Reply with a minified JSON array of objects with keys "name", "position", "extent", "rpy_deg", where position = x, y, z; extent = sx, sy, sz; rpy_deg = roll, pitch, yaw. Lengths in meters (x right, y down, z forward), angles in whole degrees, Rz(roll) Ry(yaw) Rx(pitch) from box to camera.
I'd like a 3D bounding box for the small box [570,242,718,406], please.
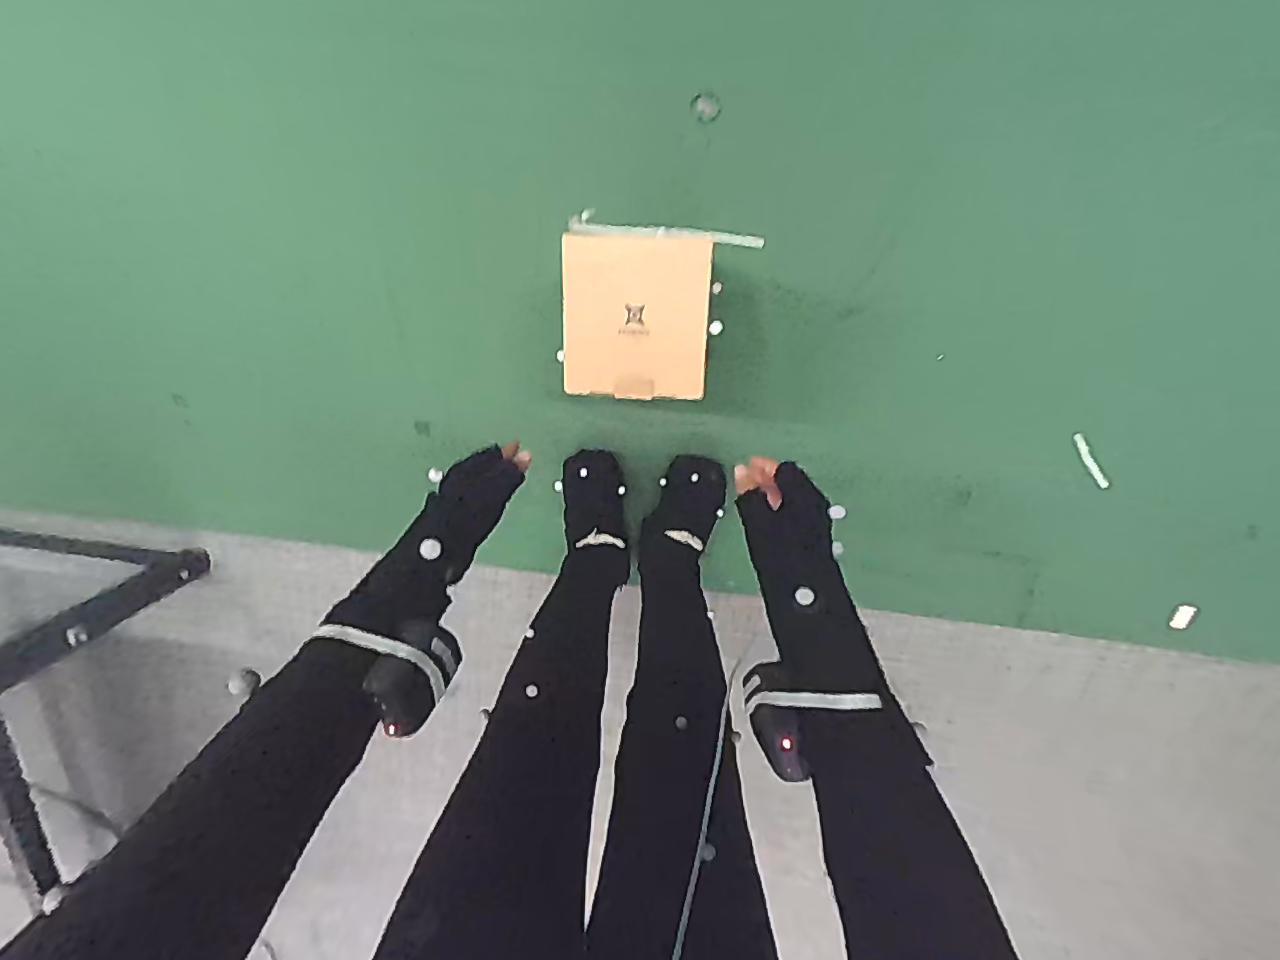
[{"name":"small box","position":[0.007,-0.199,0.690],"extent":[0.168,0.176,0.179],"rpy_deg":[3,110,5]}]
